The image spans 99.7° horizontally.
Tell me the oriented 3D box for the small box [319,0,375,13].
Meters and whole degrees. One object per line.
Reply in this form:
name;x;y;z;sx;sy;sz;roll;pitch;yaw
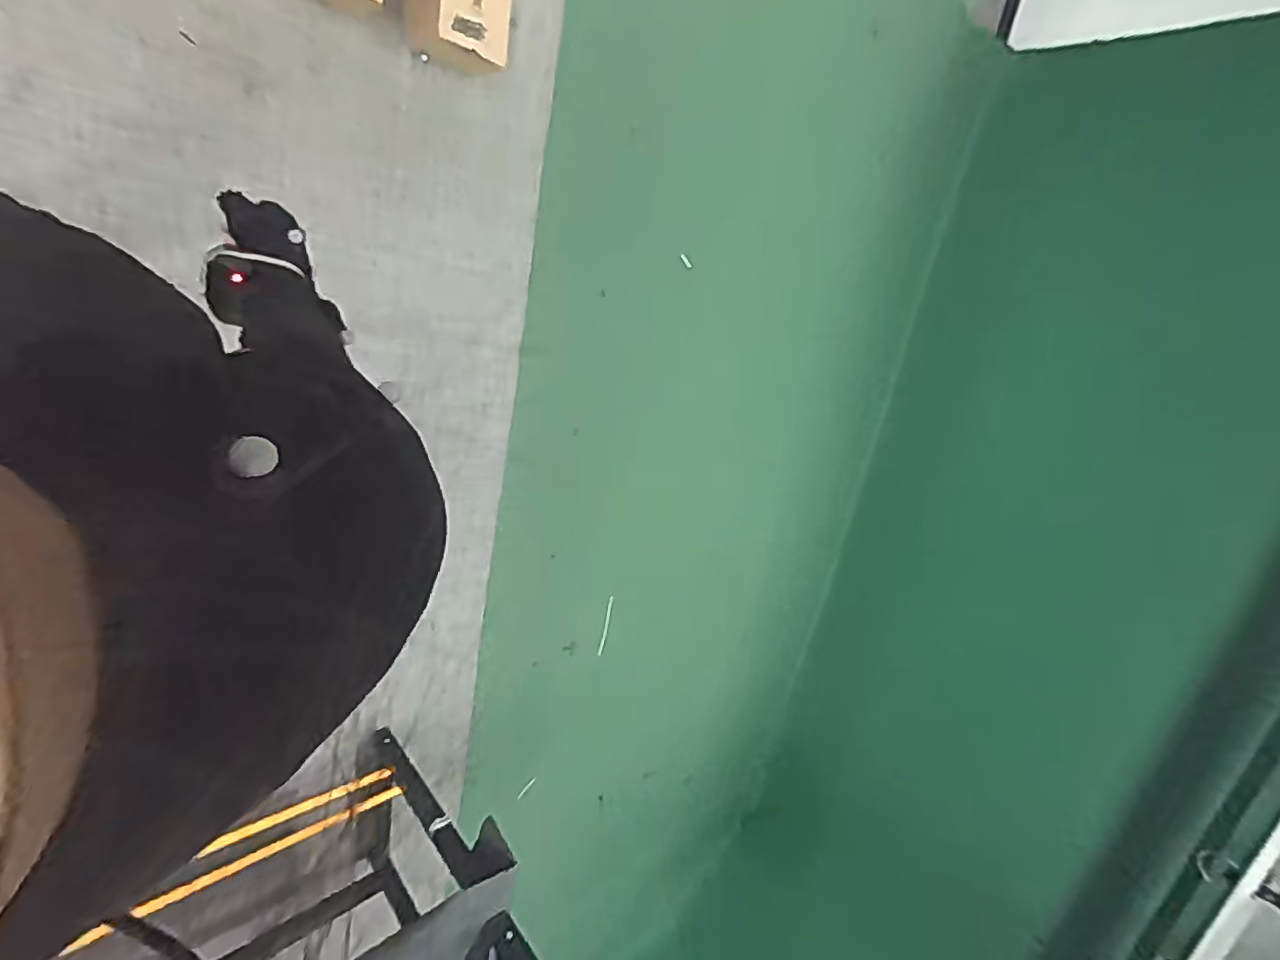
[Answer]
small box;-0.602;-1.041;1.021;0.168;0.176;0.179;-3;112;-48

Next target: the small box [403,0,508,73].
small box;-0.417;-1.056;1.216;0.168;0.176;0.179;-7;114;-46
